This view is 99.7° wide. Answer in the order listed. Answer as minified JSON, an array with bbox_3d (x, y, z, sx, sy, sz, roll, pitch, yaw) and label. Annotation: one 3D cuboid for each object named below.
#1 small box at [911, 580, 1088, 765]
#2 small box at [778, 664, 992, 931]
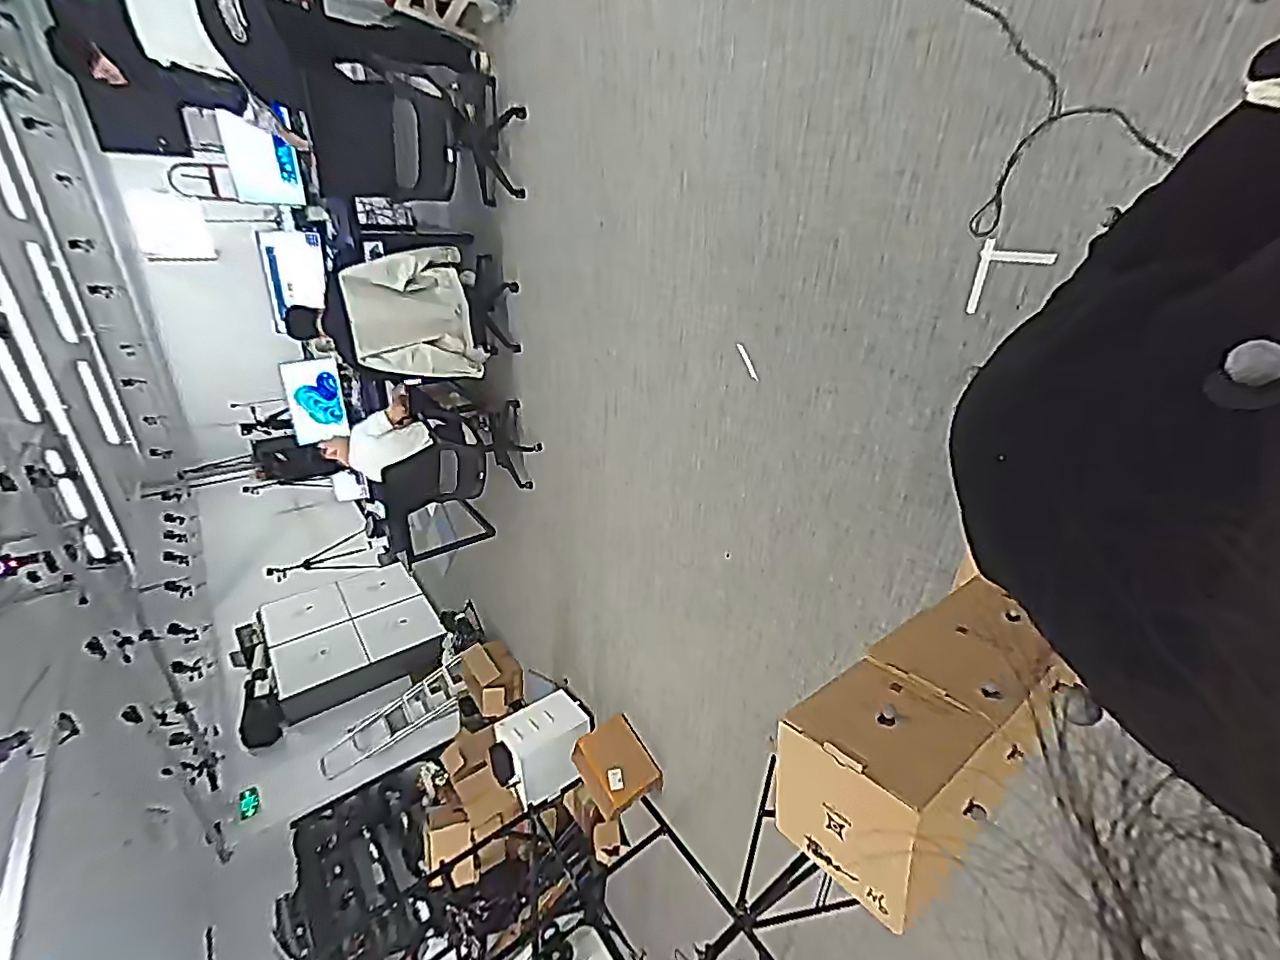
[{"bbox_3d":[0.545,0.277,0.825,0.168,0.176,0.179,25,123,49],"label":"small box"},{"bbox_3d":[0.285,0.351,0.638,0.168,0.176,0.179,20,118,51],"label":"small box"}]
